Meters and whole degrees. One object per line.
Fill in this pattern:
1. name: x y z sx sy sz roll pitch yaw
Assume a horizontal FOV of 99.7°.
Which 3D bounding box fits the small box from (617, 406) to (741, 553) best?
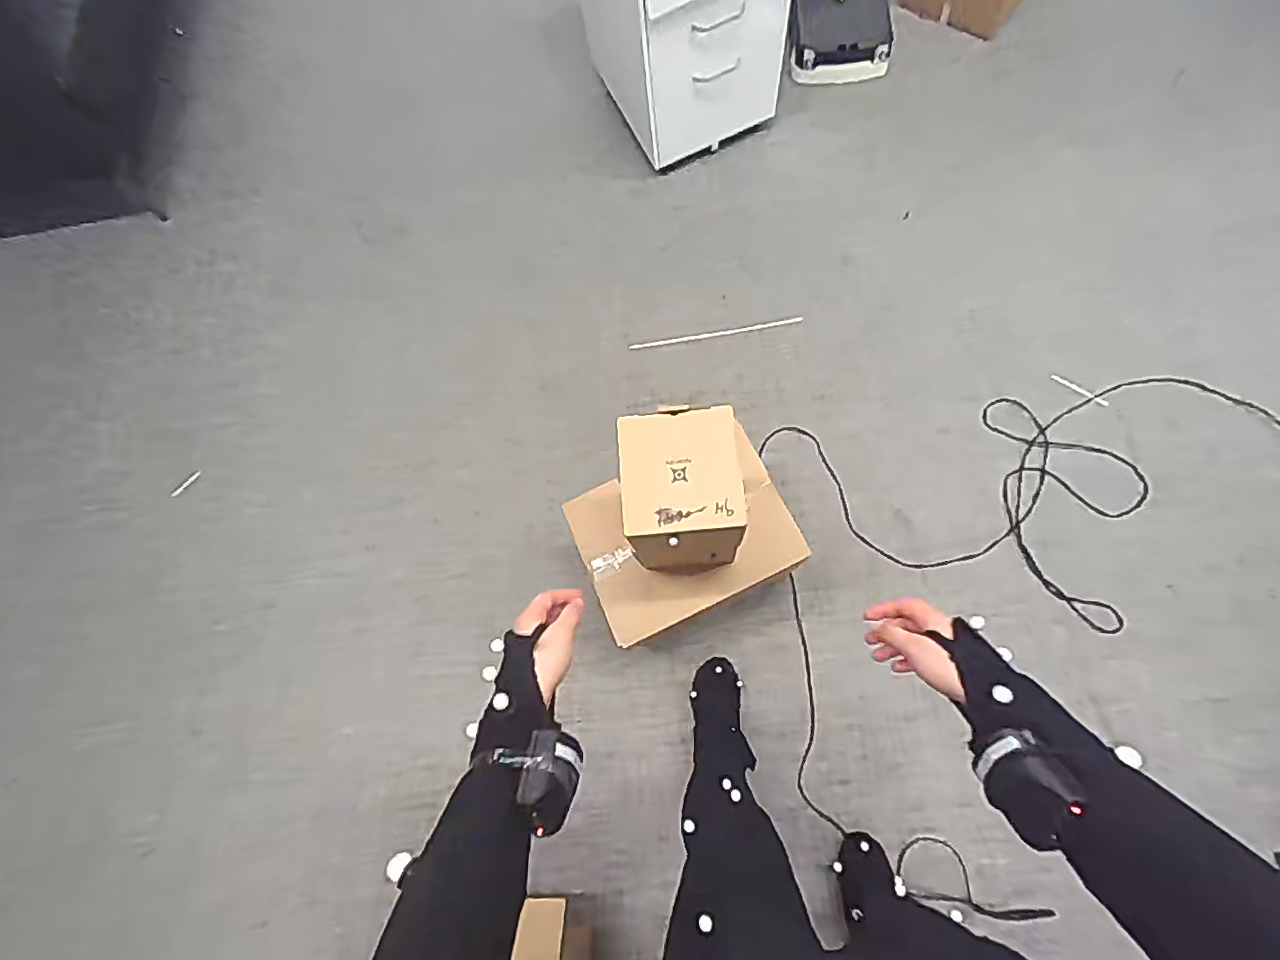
1. small box: 0.060 0.007 0.830 0.168 0.176 0.179 -6 72 6
